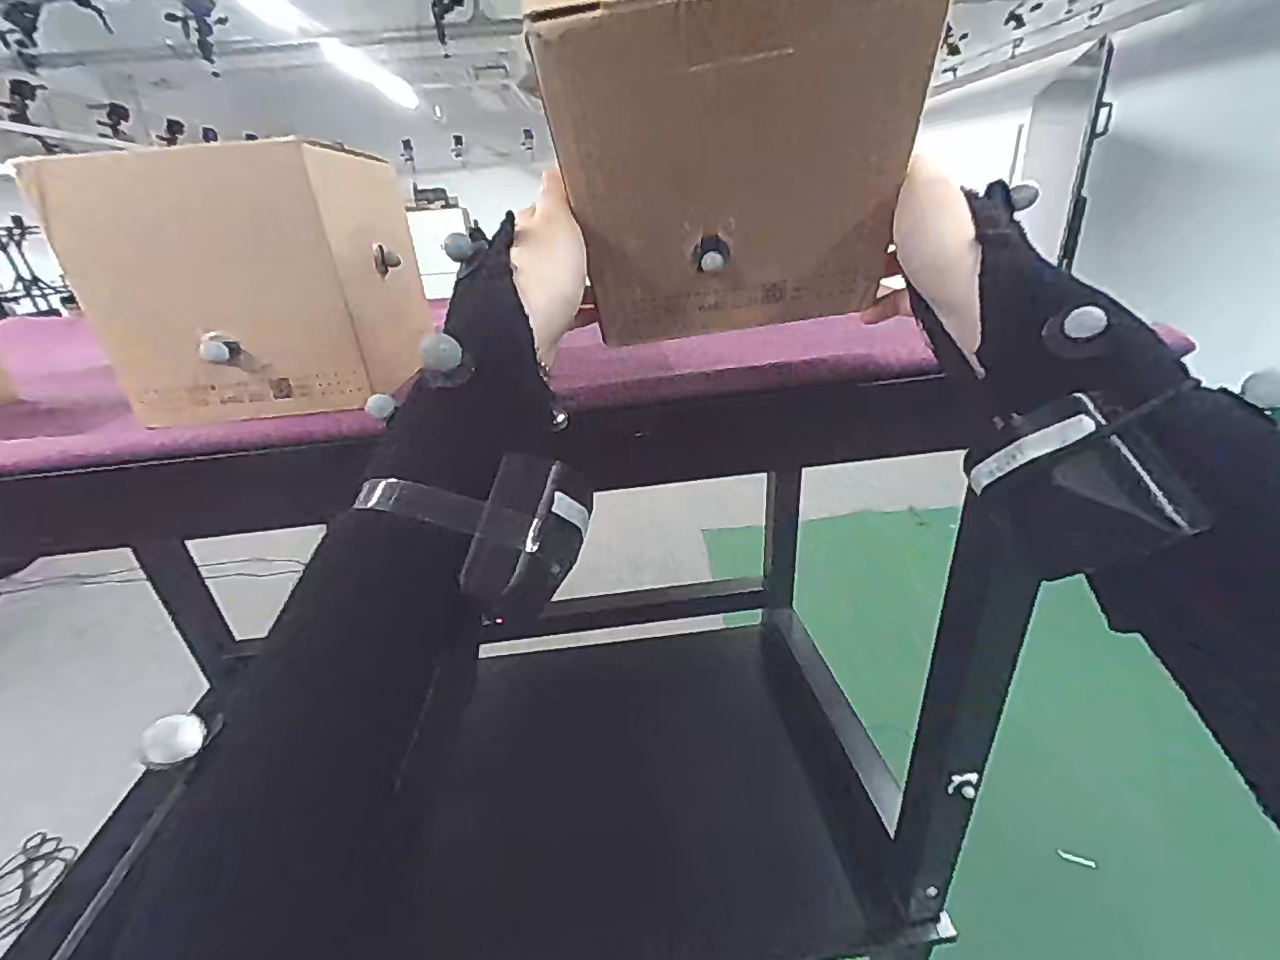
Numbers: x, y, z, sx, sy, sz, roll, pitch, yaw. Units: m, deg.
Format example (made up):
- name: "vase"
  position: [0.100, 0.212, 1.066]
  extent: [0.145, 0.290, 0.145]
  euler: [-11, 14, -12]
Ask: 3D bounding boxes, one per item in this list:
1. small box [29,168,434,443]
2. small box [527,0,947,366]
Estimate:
- name: "small box"
  position: [-0.279, -0.141, 0.428]
  extent: [0.168, 0.176, 0.179]
  euler: [-6, 28, -2]
- name: "small box"
  position: [0.042, -0.194, 0.322]
  extent: [0.168, 0.176, 0.179]
  euler: [-7, 56, 5]
